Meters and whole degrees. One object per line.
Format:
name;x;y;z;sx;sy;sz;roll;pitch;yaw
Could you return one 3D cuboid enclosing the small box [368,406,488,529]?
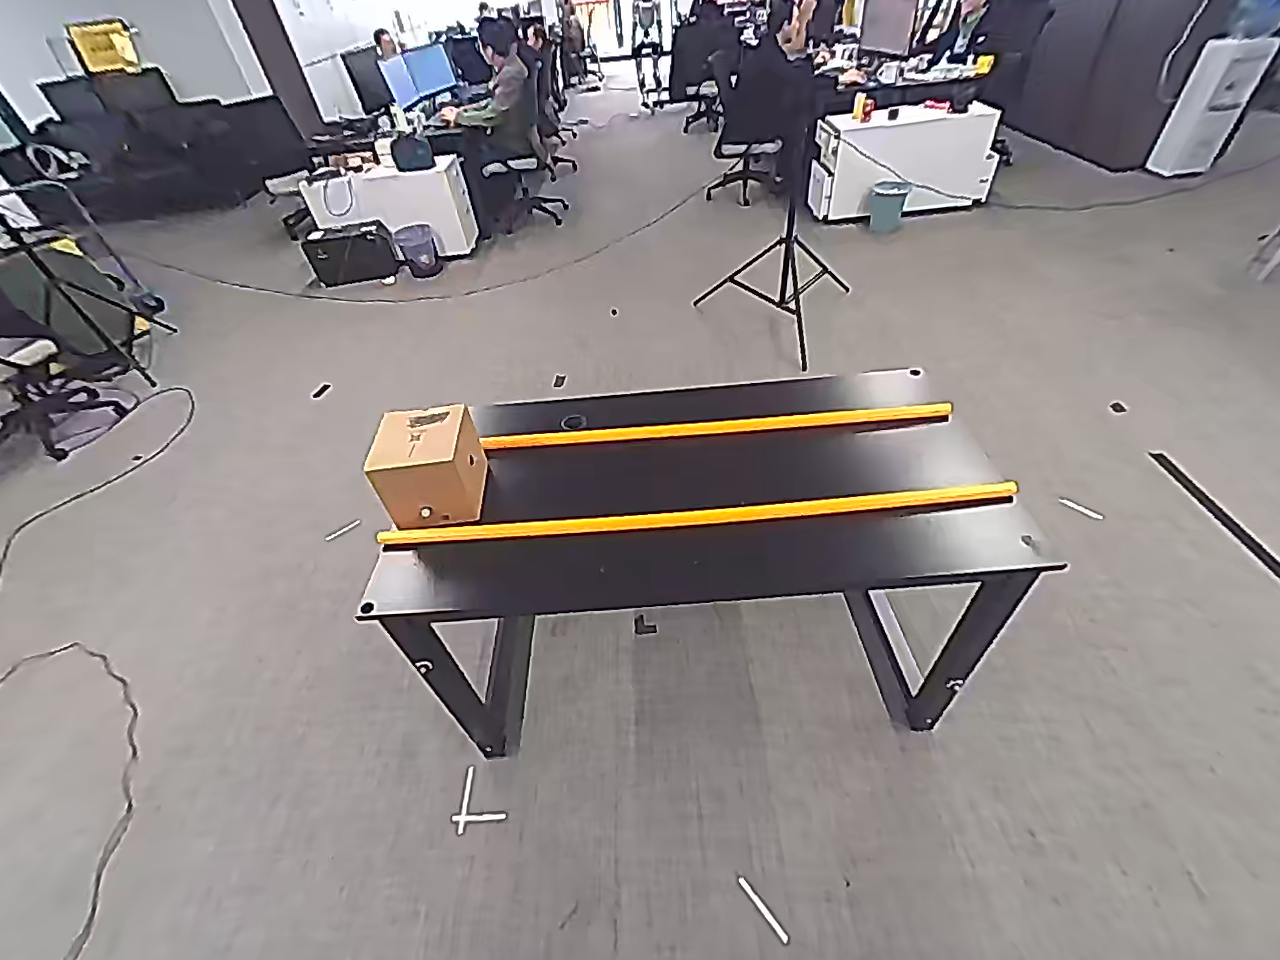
small box;-0.414;-0.025;1.095;0.168;0.176;0.179;-7;45;-1
